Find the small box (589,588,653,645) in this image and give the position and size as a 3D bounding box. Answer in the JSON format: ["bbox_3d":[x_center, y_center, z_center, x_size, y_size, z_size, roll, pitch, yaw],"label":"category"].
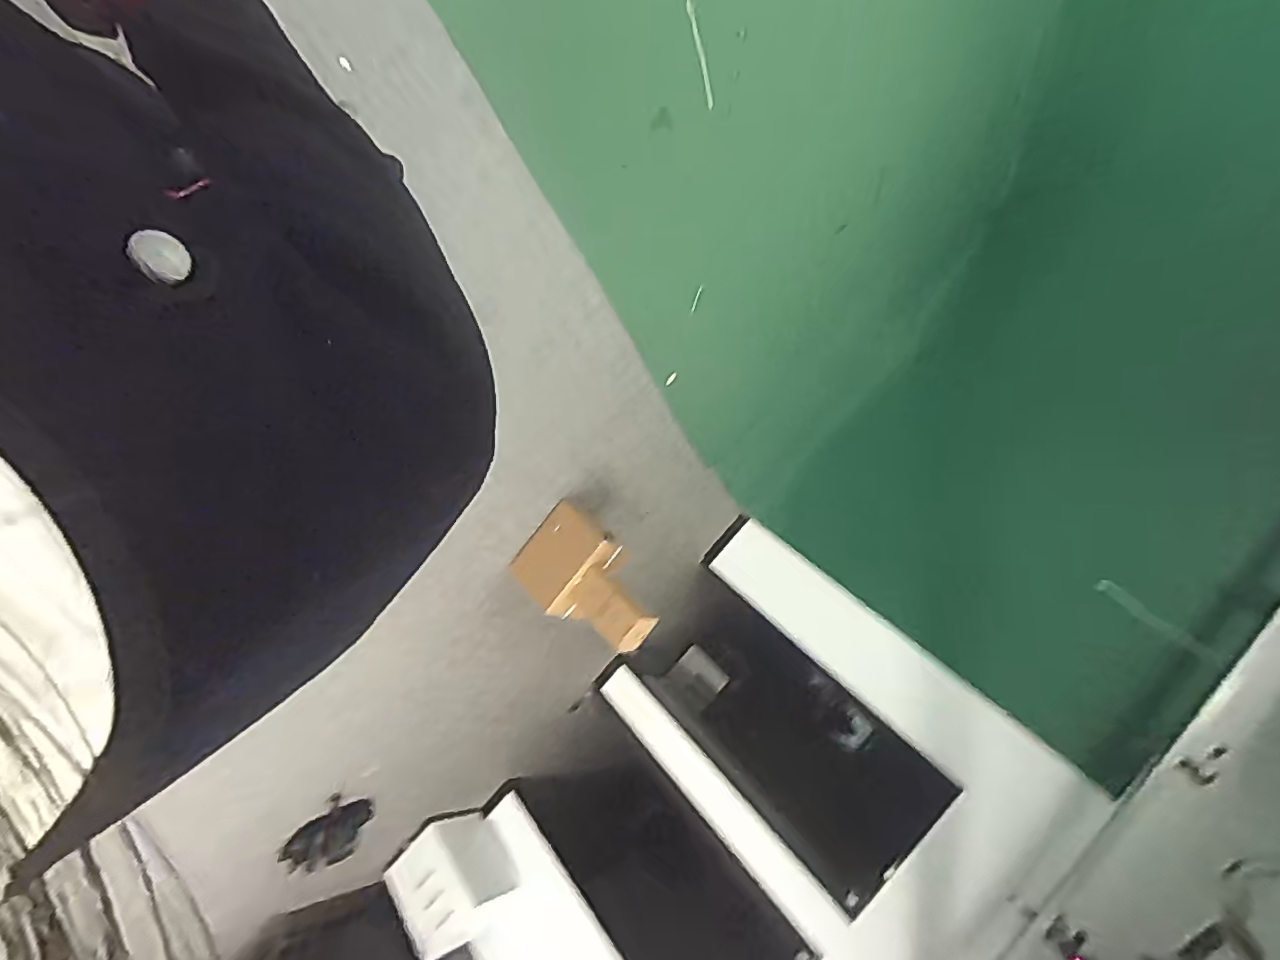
[{"bbox_3d":[-0.082,0.574,2.274,0.168,0.176,0.179,-53,149,5],"label":"small box"}]

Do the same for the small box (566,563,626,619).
[{"bbox_3d":[-0.195,0.485,2.351,0.179,0.176,0.168,-53,150,8],"label":"small box"}]
